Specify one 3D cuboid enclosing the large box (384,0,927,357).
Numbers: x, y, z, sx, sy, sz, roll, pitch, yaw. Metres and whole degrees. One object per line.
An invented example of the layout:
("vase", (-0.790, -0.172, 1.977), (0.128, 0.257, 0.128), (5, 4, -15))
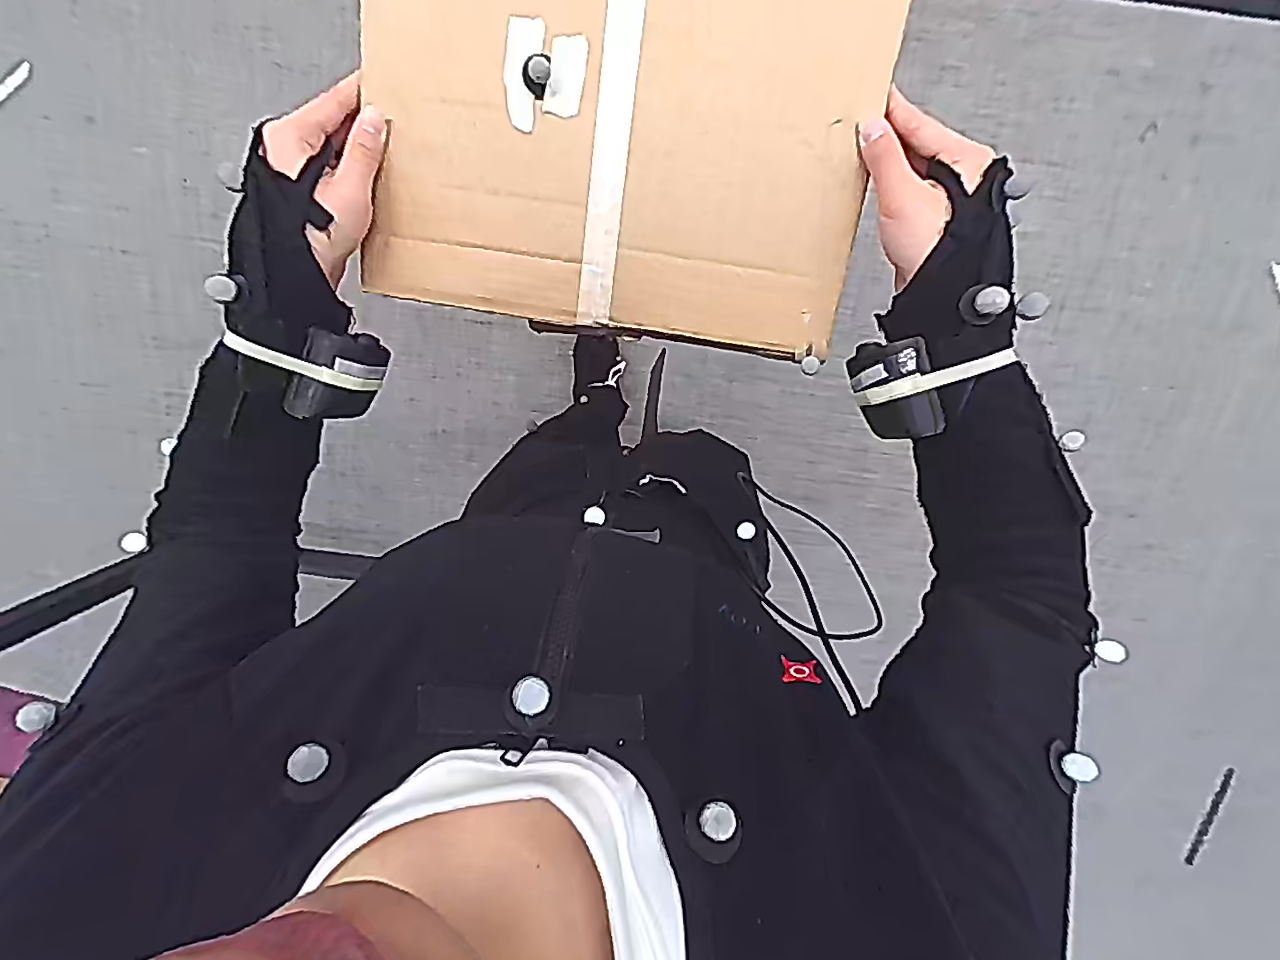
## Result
("large box", (0.013, -0.332, 0.442), (0.320, 0.320, 0.408), (8, 107, 1))
